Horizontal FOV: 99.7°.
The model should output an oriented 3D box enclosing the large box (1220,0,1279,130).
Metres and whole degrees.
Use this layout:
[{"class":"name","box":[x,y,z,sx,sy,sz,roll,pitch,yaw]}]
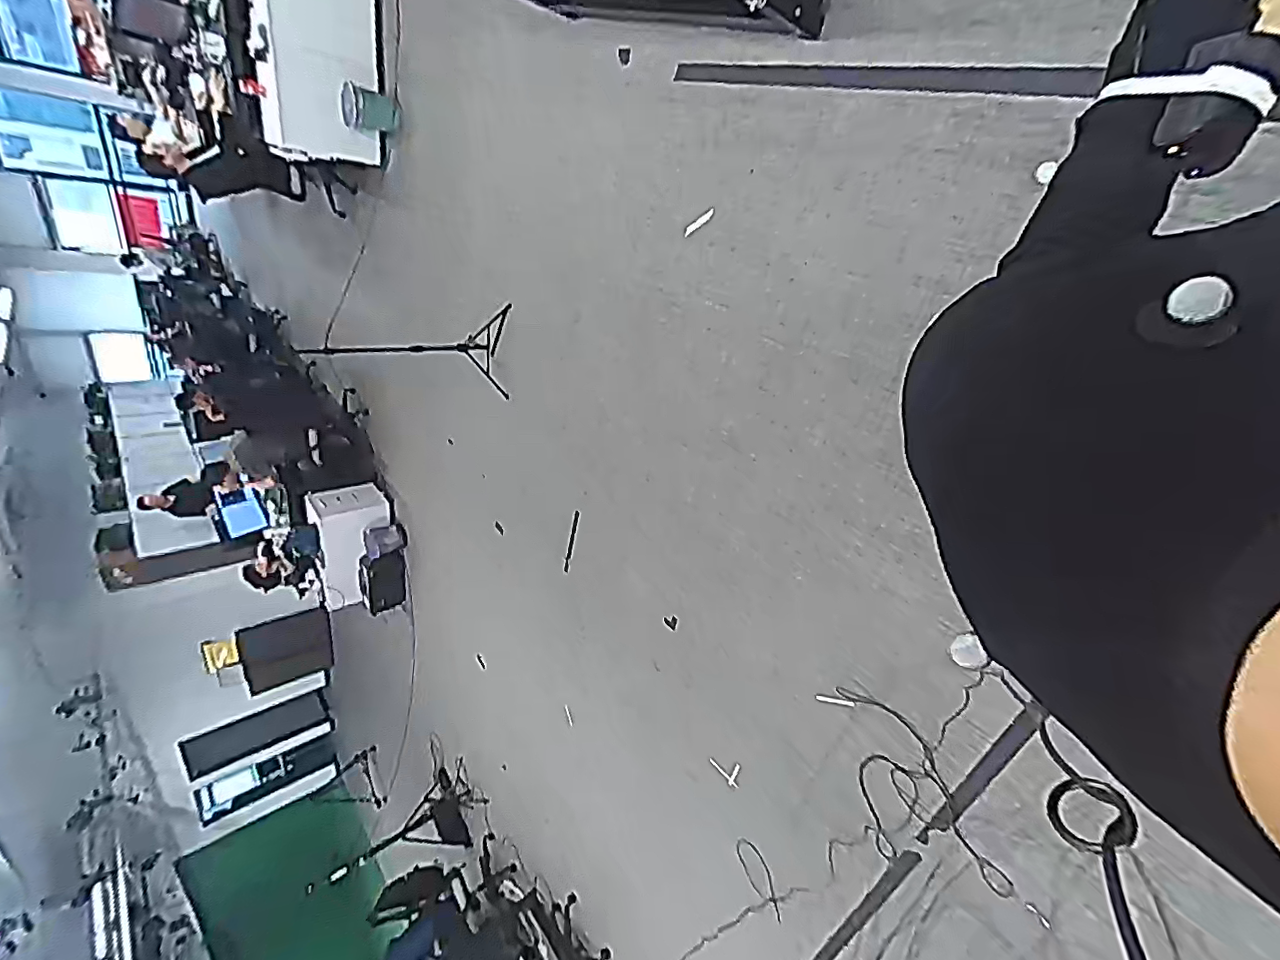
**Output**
[{"class":"large box","box":[0.650,-0.367,0.274,0.408,0.320,0.320,31,131,36]}]
